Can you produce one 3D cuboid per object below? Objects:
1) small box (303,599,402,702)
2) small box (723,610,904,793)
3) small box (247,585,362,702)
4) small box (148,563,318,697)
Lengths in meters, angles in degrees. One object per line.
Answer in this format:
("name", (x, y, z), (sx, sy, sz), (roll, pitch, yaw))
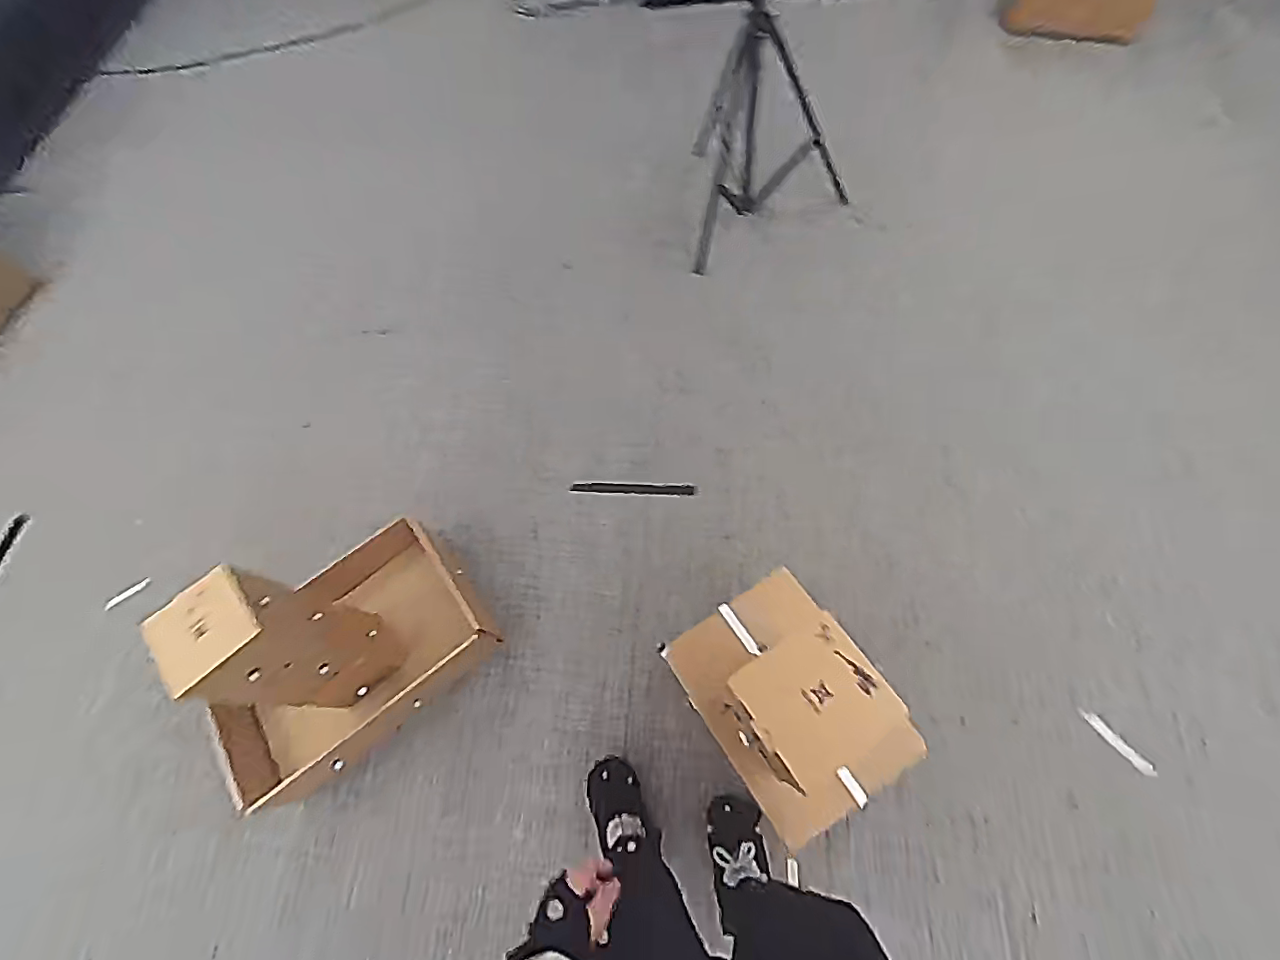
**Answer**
("small box", (-0.729, 0.426, 1.332), (0.168, 0.176, 0.179), (-37, 68, -9))
("small box", (0.238, 0.319, 0.786), (0.179, 0.176, 0.168), (-33, 67, -7))
("small box", (-0.753, 0.362, 1.185), (0.168, 0.176, 0.179), (-40, 66, -12))
("small box", (-0.766, 0.292, 1.036), (0.168, 0.176, 0.179), (-40, 68, -13))
